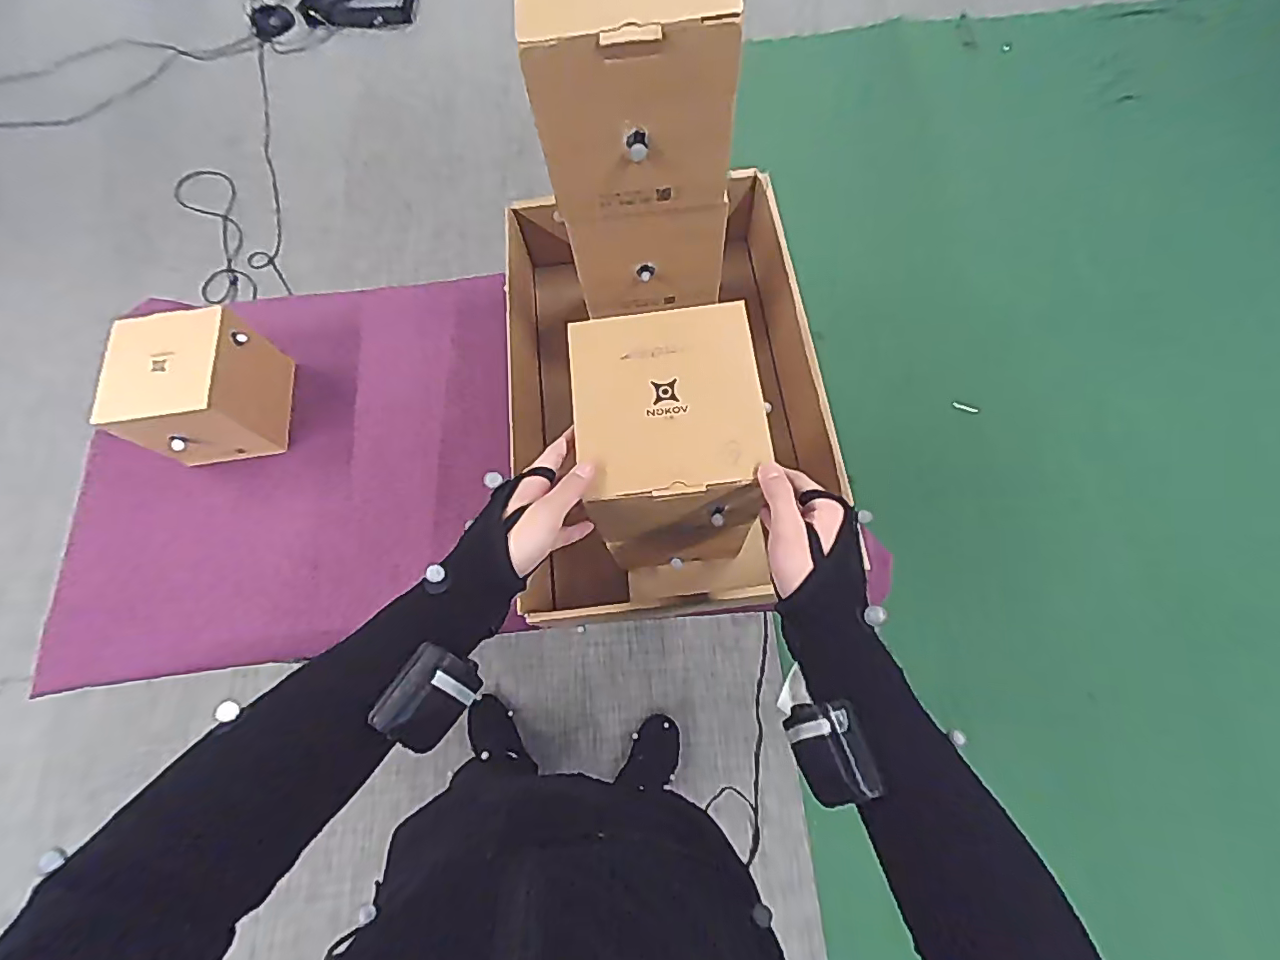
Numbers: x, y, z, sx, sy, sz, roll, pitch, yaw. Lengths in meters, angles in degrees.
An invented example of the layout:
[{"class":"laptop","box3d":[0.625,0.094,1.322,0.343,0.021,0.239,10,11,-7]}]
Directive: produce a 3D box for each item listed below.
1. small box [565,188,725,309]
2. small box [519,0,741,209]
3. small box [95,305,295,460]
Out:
[{"class":"small box","box3d":[0.007,-0.321,0.644,0.168,0.176,0.179,-5,71,2]},{"class":"small box","box3d":[-0.006,-0.372,0.489,0.168,0.176,0.179,-4,72,2]},{"class":"small box","box3d":[-0.677,-0.141,0.846,0.168,0.176,0.179,-8,69,0]}]
